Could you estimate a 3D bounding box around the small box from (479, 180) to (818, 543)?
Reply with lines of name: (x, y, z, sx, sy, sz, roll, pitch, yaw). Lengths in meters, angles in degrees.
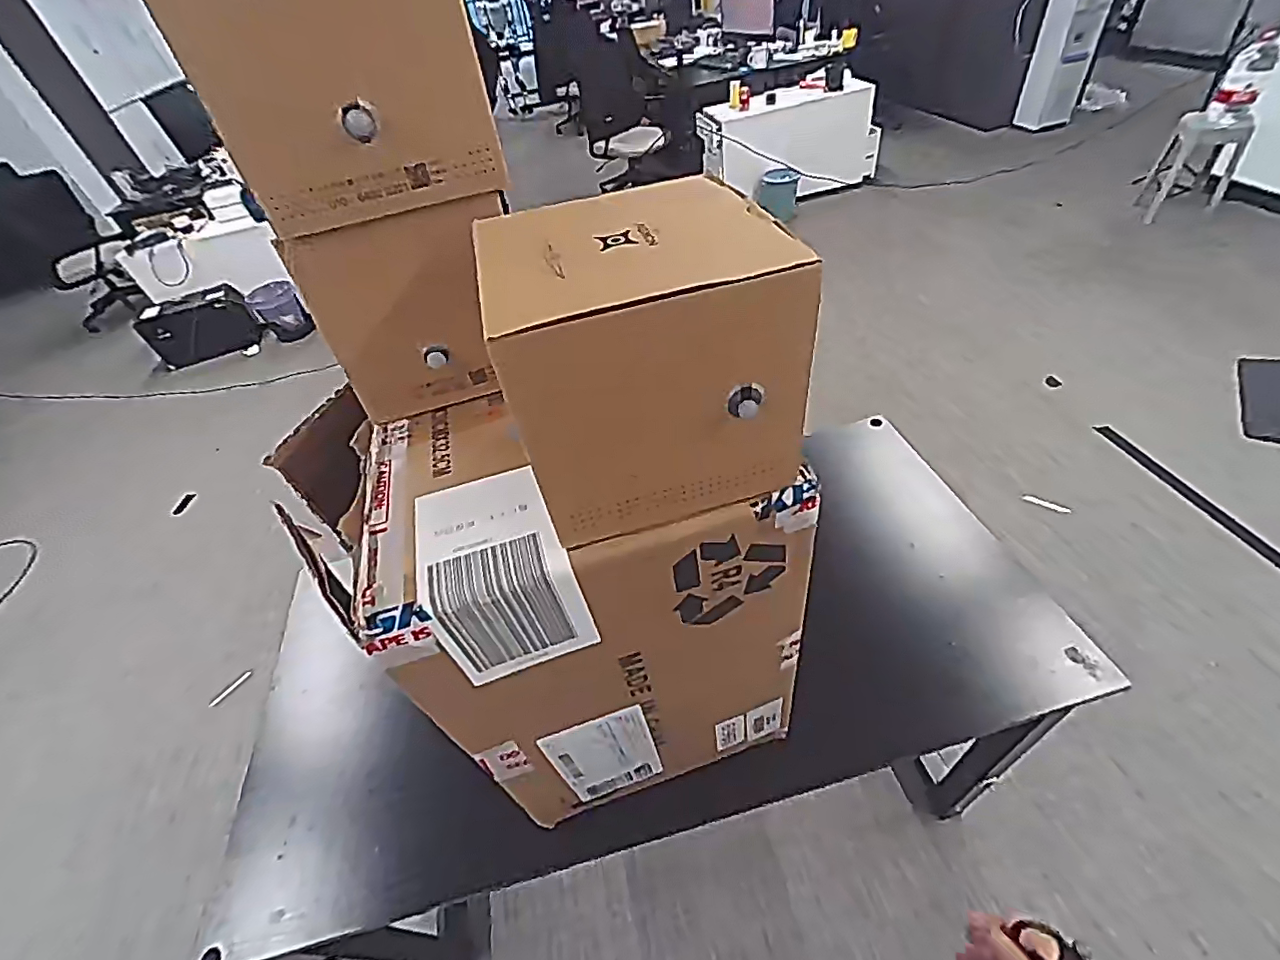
small box: (0.000, -0.083, 0.384, 0.179, 0.176, 0.168, -16, 45, -5)

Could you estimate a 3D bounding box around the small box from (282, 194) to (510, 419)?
small box: (-0.198, -0.186, 0.516, 0.168, 0.176, 0.179, -18, 44, -8)

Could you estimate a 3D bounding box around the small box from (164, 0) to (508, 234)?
small box: (-0.210, -0.302, 0.398, 0.168, 0.176, 0.179, -19, 44, -10)
